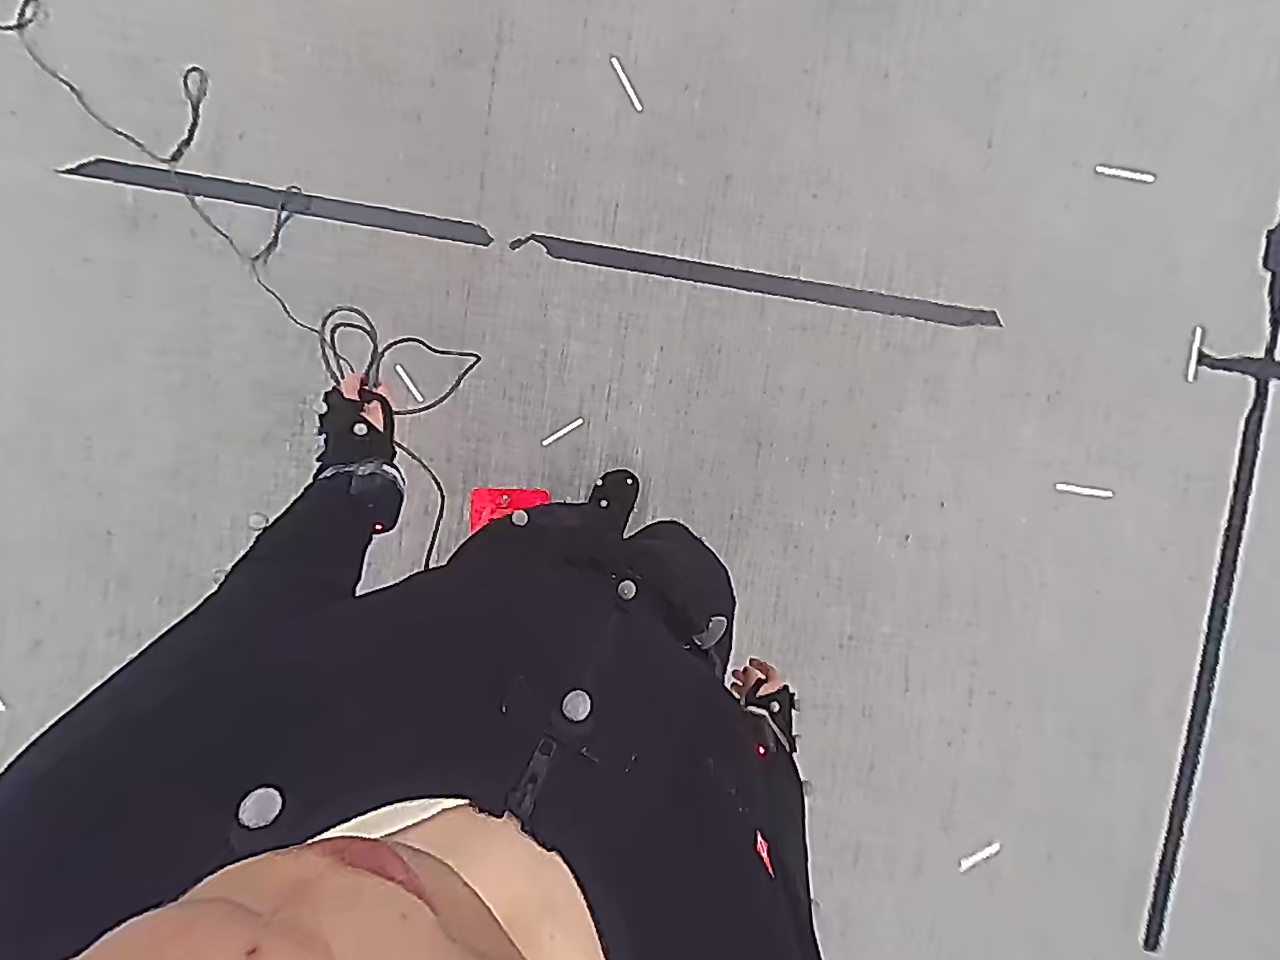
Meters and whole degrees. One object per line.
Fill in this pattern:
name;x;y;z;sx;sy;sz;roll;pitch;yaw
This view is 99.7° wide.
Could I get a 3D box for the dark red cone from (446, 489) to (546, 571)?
dark red cone;-0.326;0.128;1.155;0.202;0.394;0.201;1;92;-2
